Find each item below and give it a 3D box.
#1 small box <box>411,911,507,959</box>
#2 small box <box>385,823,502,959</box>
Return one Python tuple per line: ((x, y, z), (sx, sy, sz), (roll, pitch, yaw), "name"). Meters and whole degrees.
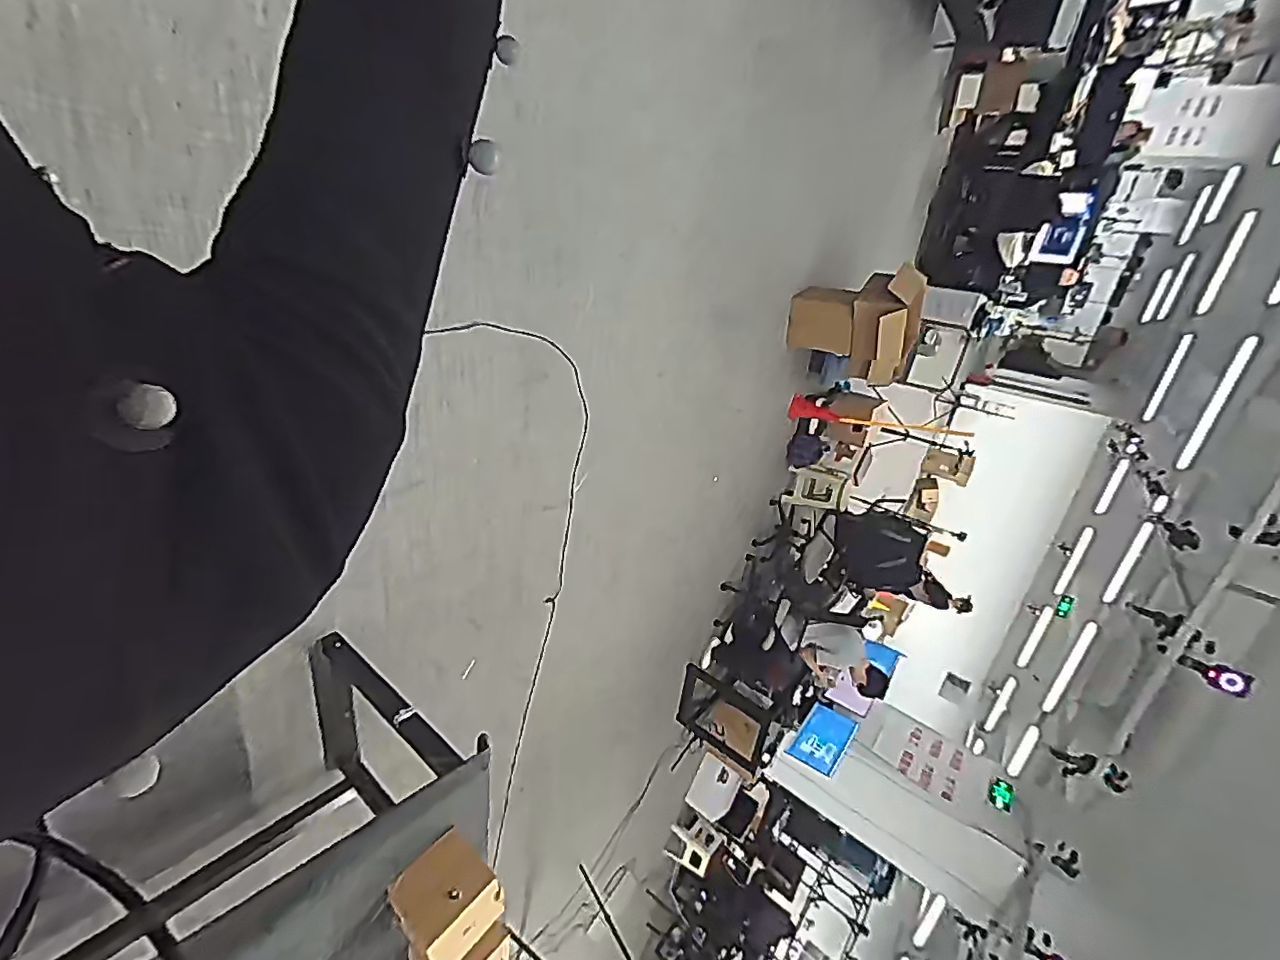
((-0.455, 1.170, 1.349), (0.179, 0.176, 0.168), (-21, 126, -48), "small box")
((-0.439, 0.927, 1.217), (0.179, 0.176, 0.168), (-30, 133, -42), "small box")
